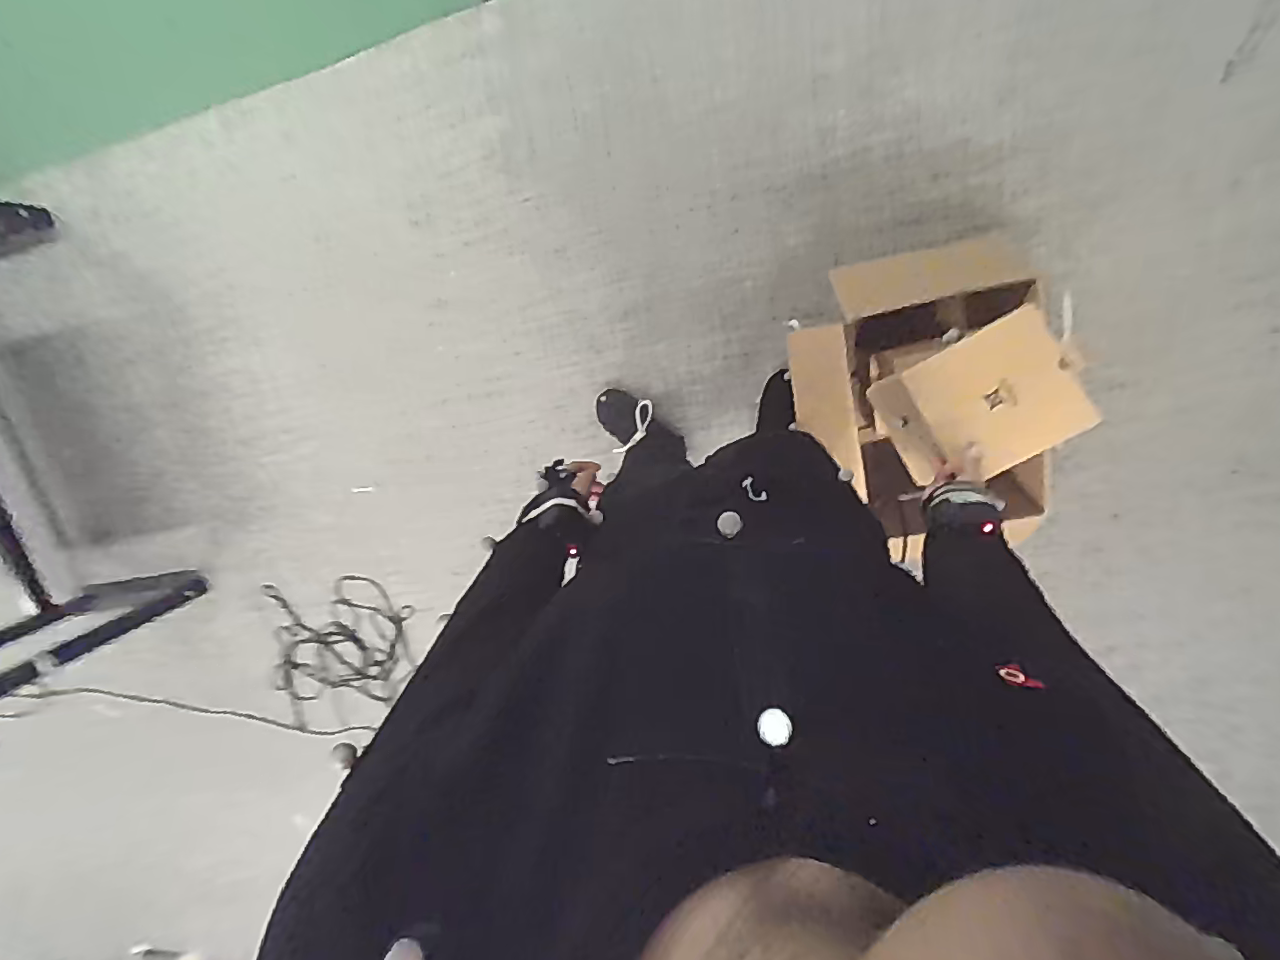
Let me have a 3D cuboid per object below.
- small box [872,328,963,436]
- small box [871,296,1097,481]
[{"bbox_3d":[0.529,-0.168,0.957,0.179,0.176,0.168,-11,105,15],"label":"small box"},{"bbox_3d":[0.435,-0.107,0.726,0.179,0.176,0.168,-30,86,7],"label":"small box"}]
